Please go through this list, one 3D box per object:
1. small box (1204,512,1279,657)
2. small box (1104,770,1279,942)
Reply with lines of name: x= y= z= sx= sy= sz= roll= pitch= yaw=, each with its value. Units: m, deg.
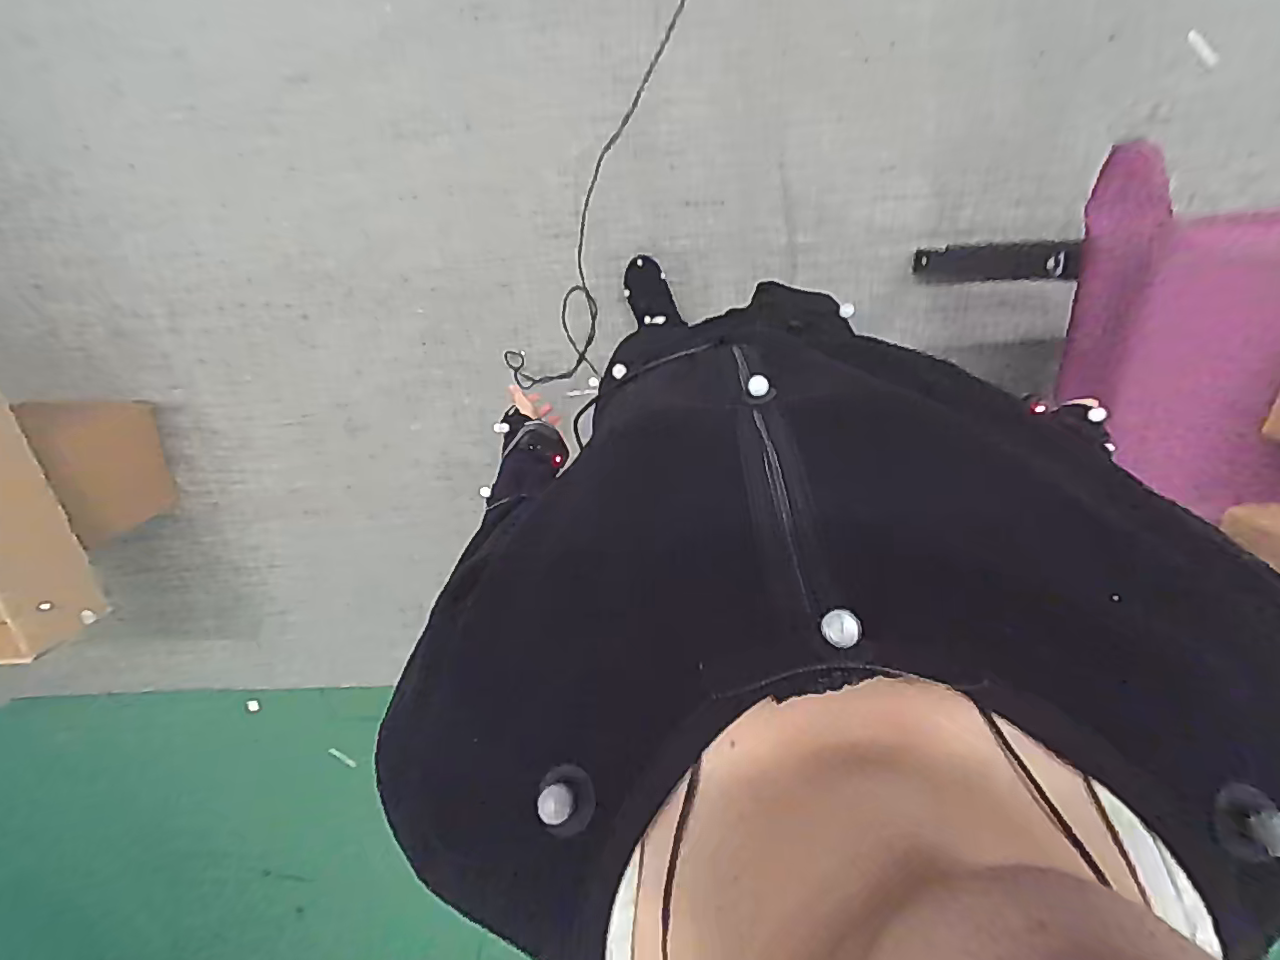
small box: x=0.947 y=0.147 z=0.729 sx=0.179 sy=0.176 sz=0.168 roll=-5 pitch=111 yaw=4
small box: x=0.942 y=0.627 z=0.923 sx=0.168 sy=0.176 sz=0.179 roll=-21 pitch=110 yaw=9
